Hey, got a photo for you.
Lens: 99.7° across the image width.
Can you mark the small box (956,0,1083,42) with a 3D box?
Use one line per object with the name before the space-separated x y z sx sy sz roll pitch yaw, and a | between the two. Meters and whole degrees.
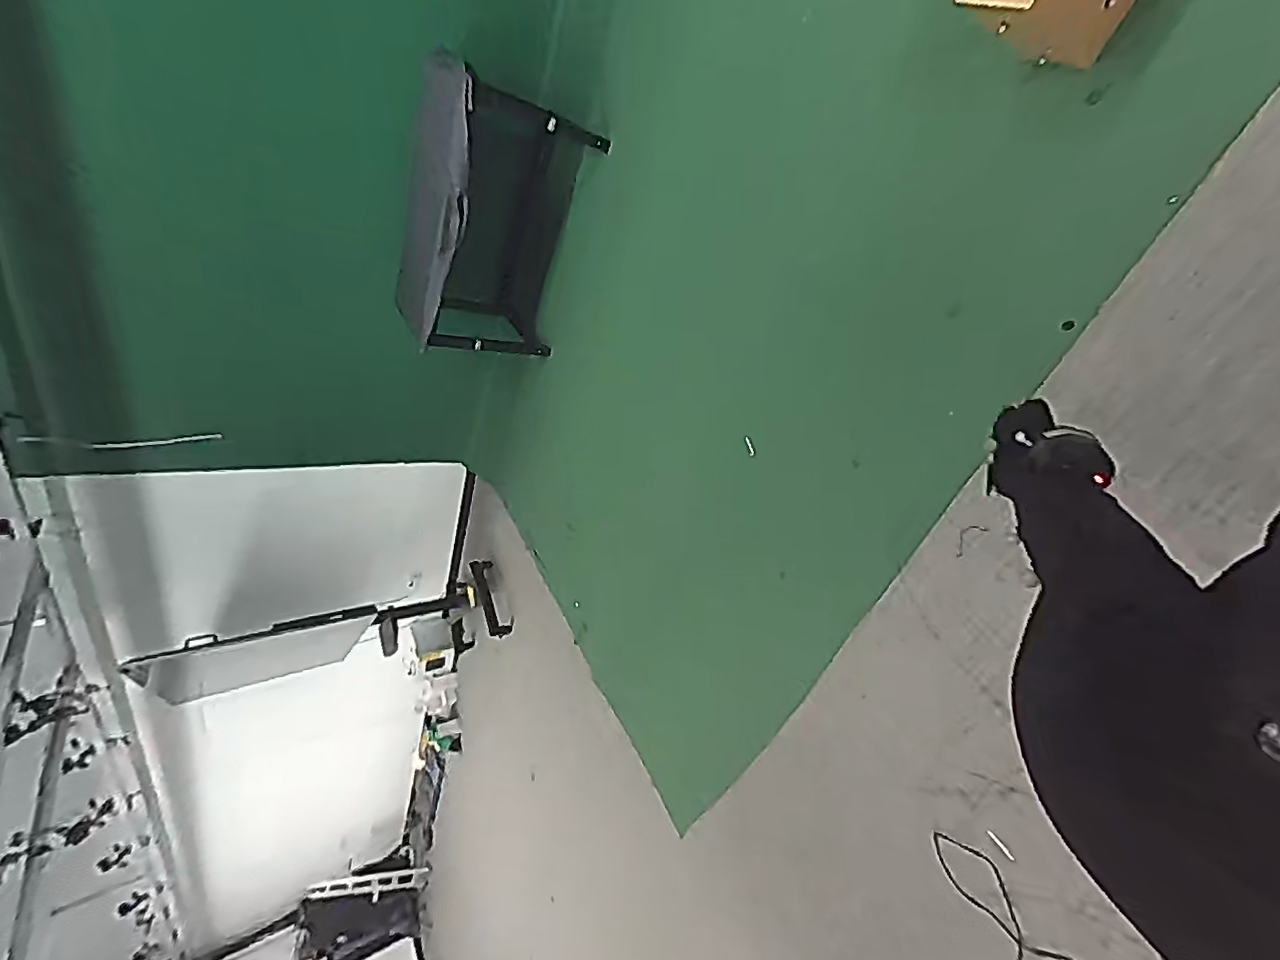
small box | 0.769 -0.988 1.045 0.168 0.176 0.179 51 133 37
